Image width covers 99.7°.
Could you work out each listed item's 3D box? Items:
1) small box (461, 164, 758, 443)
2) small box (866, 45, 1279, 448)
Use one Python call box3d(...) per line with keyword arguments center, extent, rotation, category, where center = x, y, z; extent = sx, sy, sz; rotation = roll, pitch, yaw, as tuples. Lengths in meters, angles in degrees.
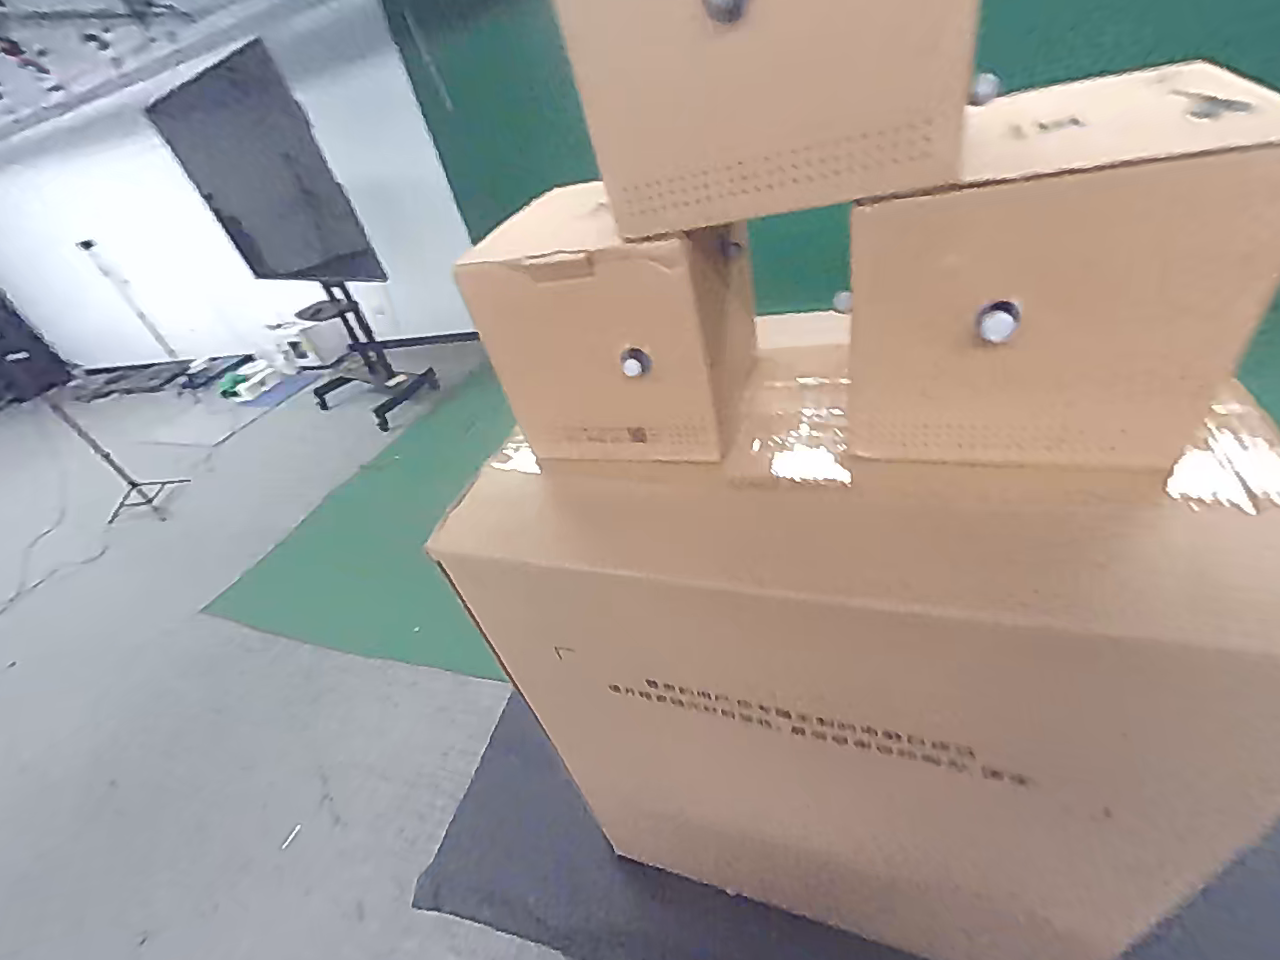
box3d(center=(-0.001, -0.143, 0.429), extent=(0.168, 0.176, 0.179), rotation=(3, 40, 20), category="small box")
box3d(center=(0.237, -0.133, 0.331), extent=(0.179, 0.176, 0.168), rotation=(3, 43, 23), category="small box")
